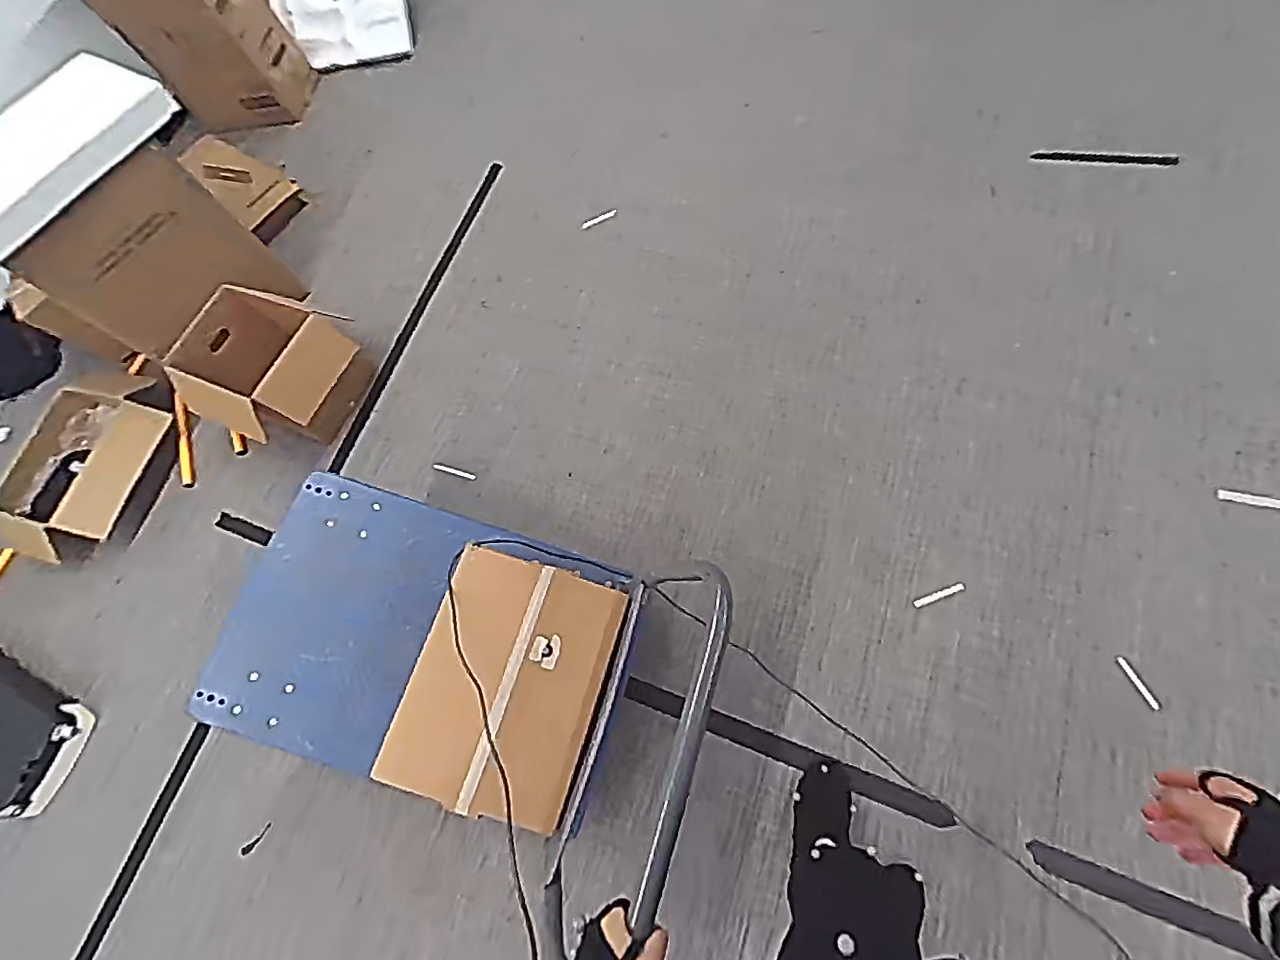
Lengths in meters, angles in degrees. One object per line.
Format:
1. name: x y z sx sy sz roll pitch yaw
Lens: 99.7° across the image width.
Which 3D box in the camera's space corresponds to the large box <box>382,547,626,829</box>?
1. large box: -0.237 0.391 1.077 0.320 0.320 0.408 18 72 -1
